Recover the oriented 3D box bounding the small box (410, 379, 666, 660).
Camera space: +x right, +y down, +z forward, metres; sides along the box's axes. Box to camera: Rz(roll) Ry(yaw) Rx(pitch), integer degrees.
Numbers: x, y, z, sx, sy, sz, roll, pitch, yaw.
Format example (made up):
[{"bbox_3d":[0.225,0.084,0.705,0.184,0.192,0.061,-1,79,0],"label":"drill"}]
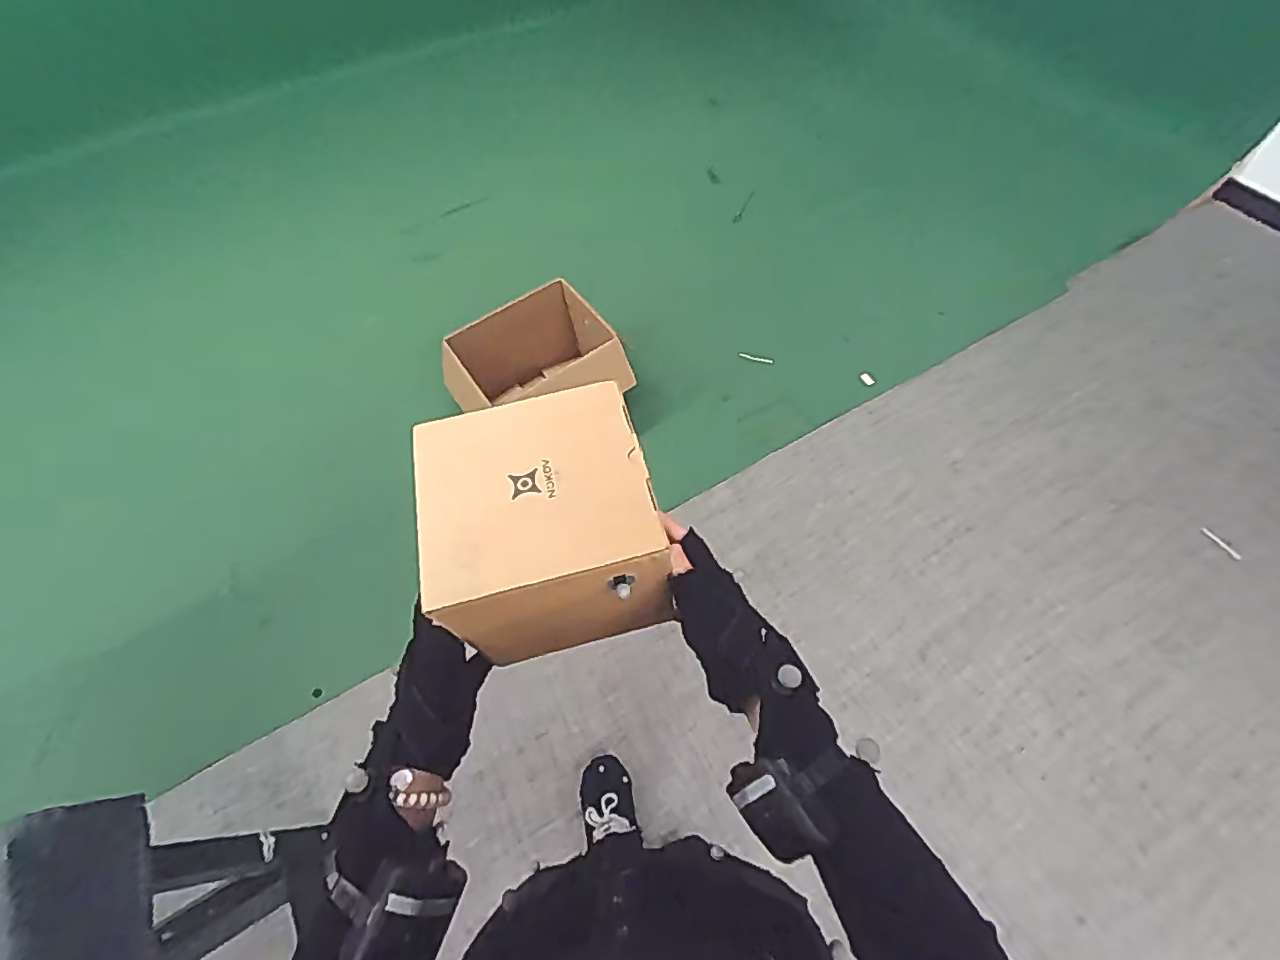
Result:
[{"bbox_3d":[-0.082,0.043,0.479,0.179,0.176,0.168,-15,59,-5],"label":"small box"}]
